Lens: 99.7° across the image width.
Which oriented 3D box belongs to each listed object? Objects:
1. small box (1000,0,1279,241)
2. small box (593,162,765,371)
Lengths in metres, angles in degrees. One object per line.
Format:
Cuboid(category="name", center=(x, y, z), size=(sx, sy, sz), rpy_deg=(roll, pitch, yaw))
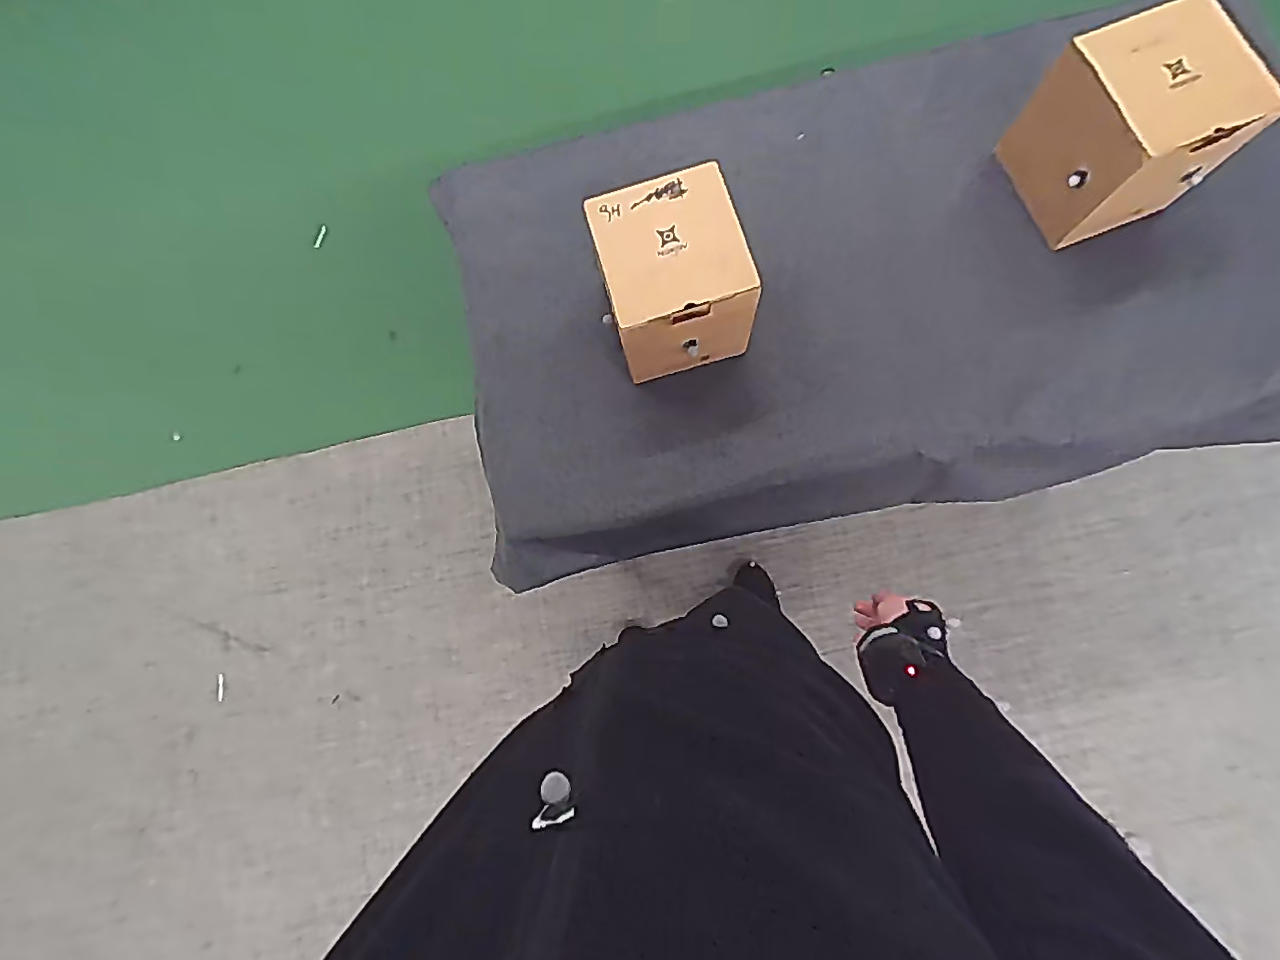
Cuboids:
Cuboid(category="small box", center=(0.612, -0.435, 0.685), size=(0.168, 0.176, 0.179), rpy_deg=(-20, 77, 0))
Cuboid(category="small box", center=(0.050, -0.258, 0.701), size=(0.168, 0.176, 0.179), rpy_deg=(-16, 78, 1))
